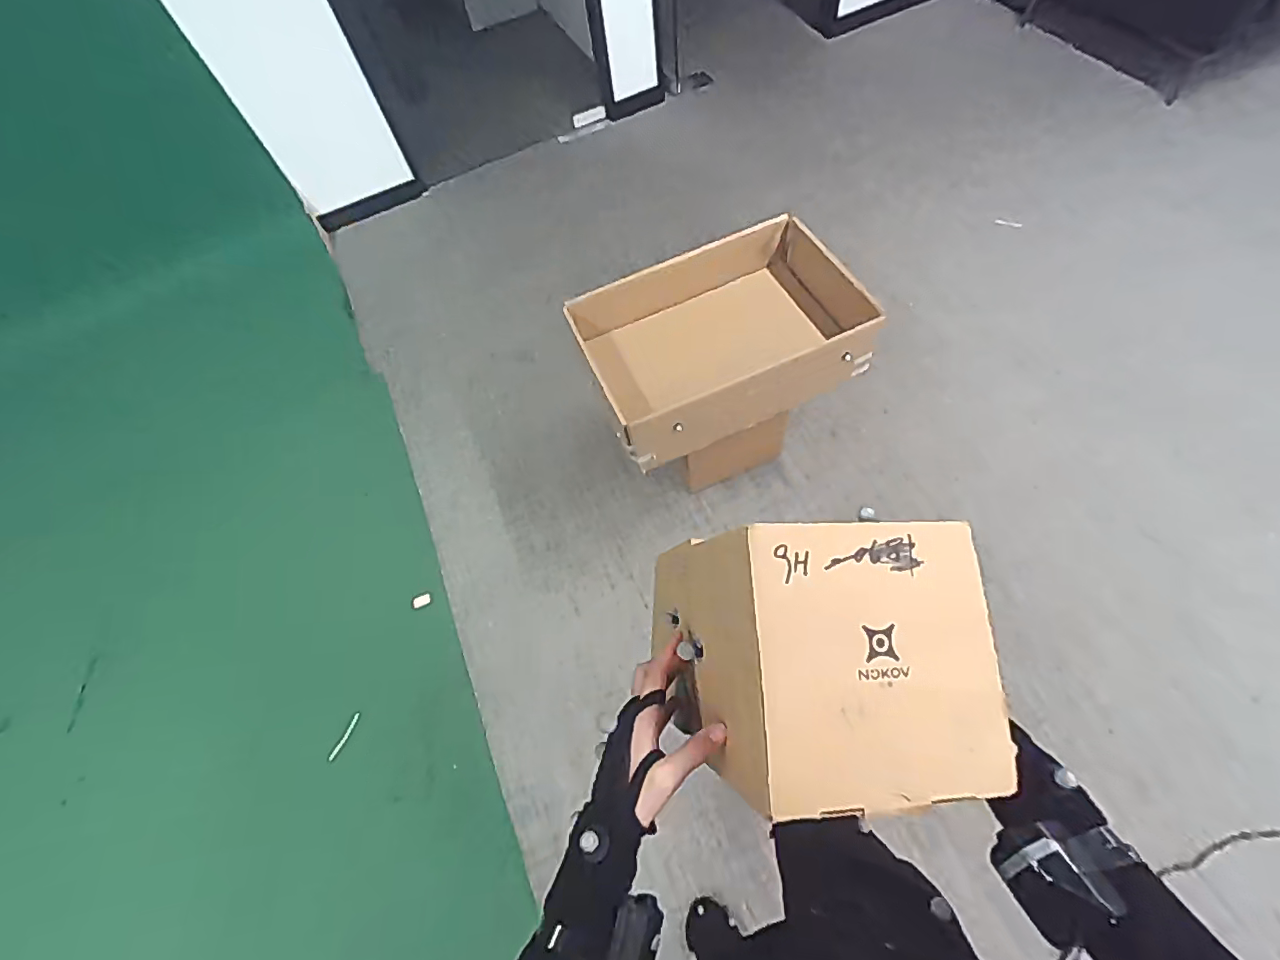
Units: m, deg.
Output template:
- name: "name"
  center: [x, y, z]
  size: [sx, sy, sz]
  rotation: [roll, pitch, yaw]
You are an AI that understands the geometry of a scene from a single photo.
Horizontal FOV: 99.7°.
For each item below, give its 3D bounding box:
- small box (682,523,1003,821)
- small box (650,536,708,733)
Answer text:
- name: "small box"
  center: [0.132, 0.130, 0.419]
  size: [0.168, 0.176, 0.179]
  rotation: [1, 77, -10]
- name: "small box"
  center: [0.108, 0.165, 0.579]
  size: [0.168, 0.176, 0.179]
  rotation: [6, 76, -7]
